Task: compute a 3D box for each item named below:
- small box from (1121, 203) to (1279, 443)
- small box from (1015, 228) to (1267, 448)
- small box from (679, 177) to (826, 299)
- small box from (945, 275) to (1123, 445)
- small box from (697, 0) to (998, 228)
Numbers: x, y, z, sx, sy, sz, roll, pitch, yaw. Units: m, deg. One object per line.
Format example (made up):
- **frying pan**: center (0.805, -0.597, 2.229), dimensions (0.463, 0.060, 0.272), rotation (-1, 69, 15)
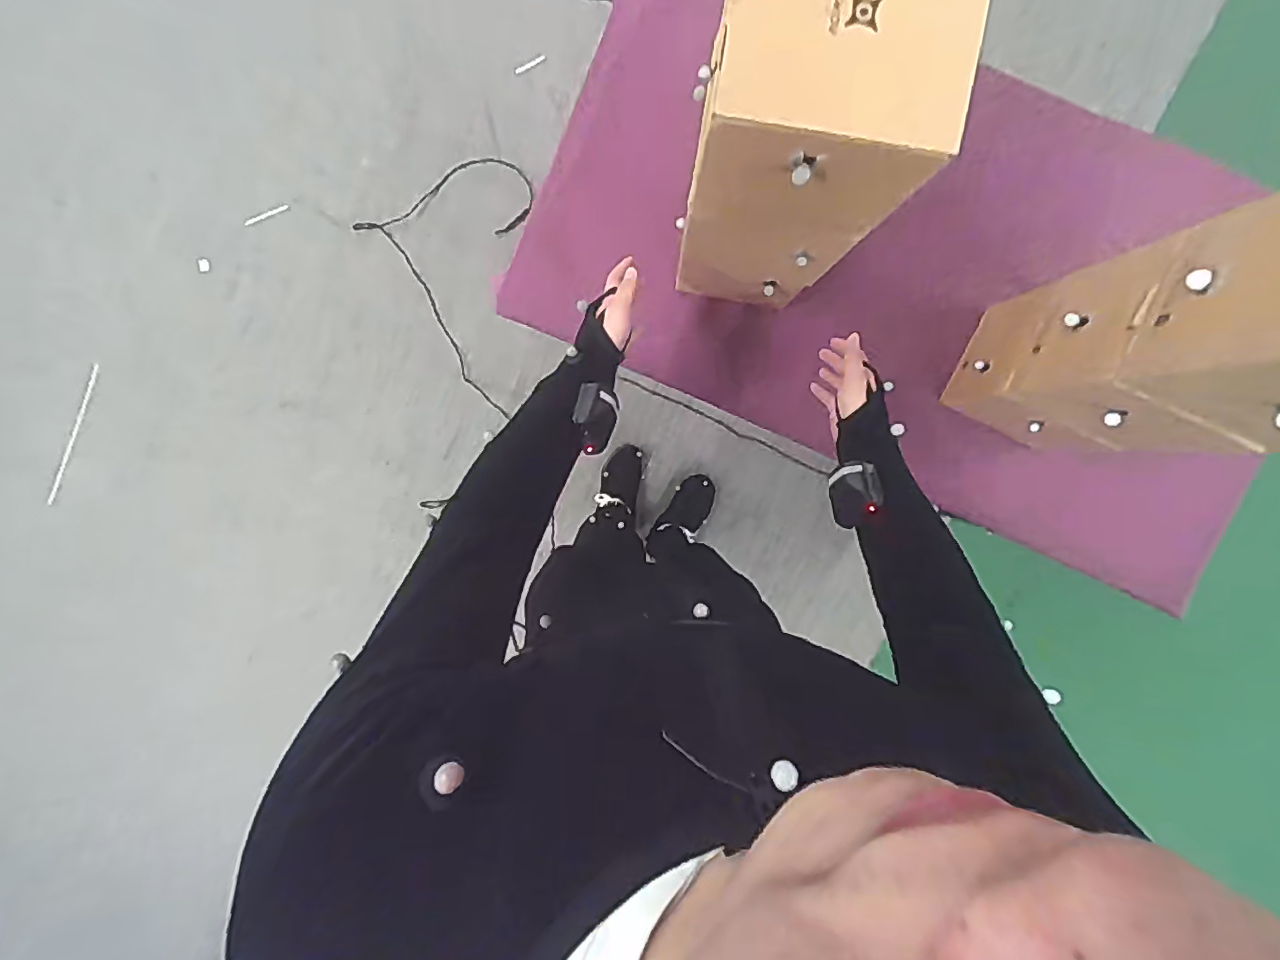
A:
- **small box**: center (0.579, -0.131, 0.449), dimensions (0.179, 0.176, 0.168), rotation (24, 96, 0)
- **small box**: center (0.582, -0.146, 0.613), dimensions (0.179, 0.176, 0.168), rotation (25, 97, 0)
- **small box**: center (0.158, -0.366, 0.764), dimensions (0.179, 0.176, 0.168), rotation (11, 96, 0)
- **small box**: center (0.586, -0.160, 0.776), dimensions (0.179, 0.176, 0.168), rotation (27, 96, -1)
- **small box**: center (0.151, -0.324, 0.440), dimensions (0.179, 0.176, 0.168), rotation (10, 97, 0)
